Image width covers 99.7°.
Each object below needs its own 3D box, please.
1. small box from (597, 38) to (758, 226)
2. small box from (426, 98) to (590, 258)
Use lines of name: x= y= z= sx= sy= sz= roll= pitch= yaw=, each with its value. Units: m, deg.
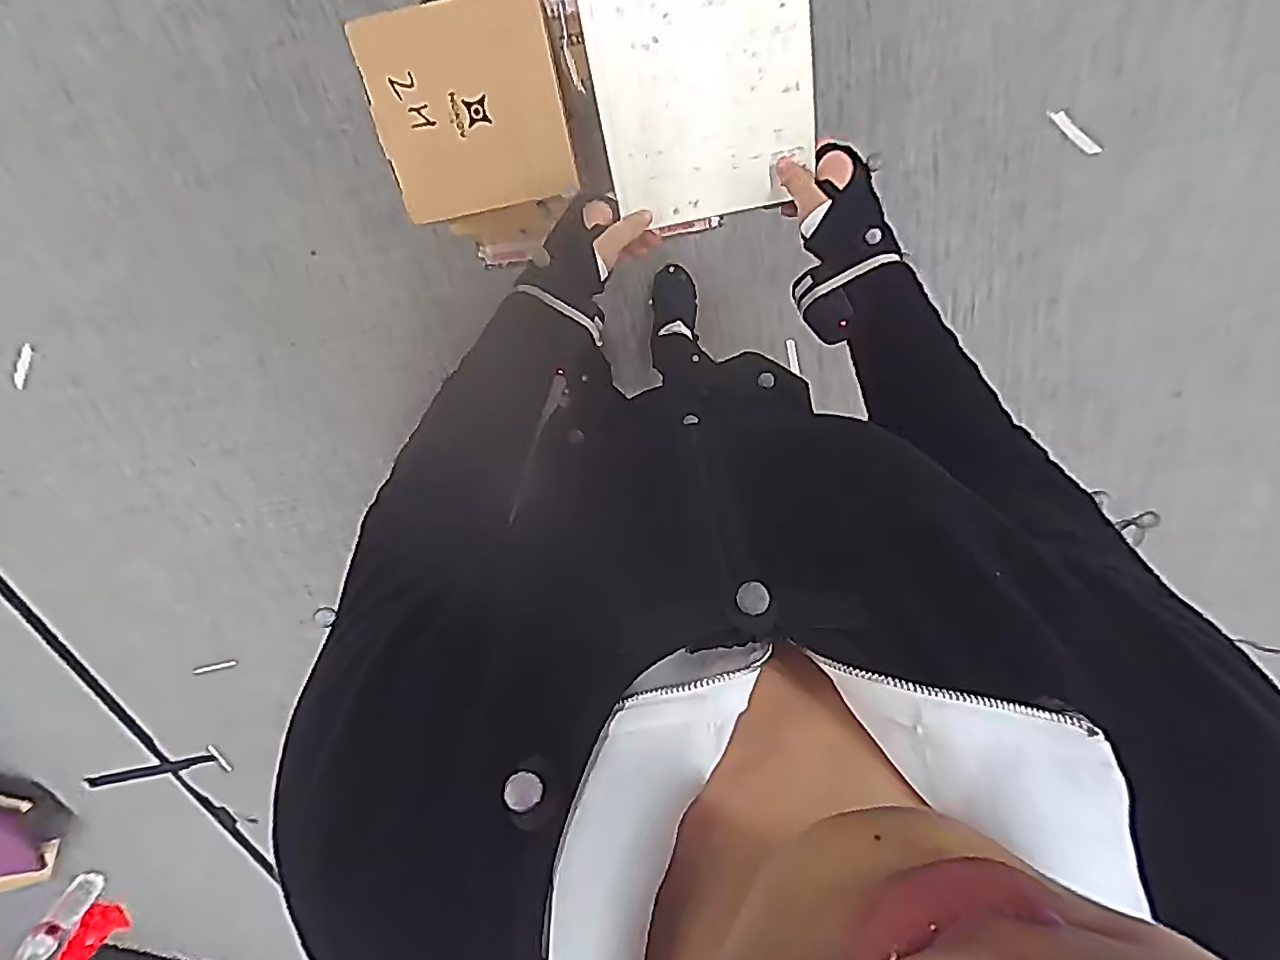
small box: x=0.045 y=-0.459 z=0.738 sx=0.179 sy=0.176 sz=0.168 roll=-15 pitch=116 yaw=4
small box: x=-0.165 y=-0.412 z=0.750 sx=0.179 sy=0.176 sz=0.168 roll=-6 pitch=117 yaw=2
